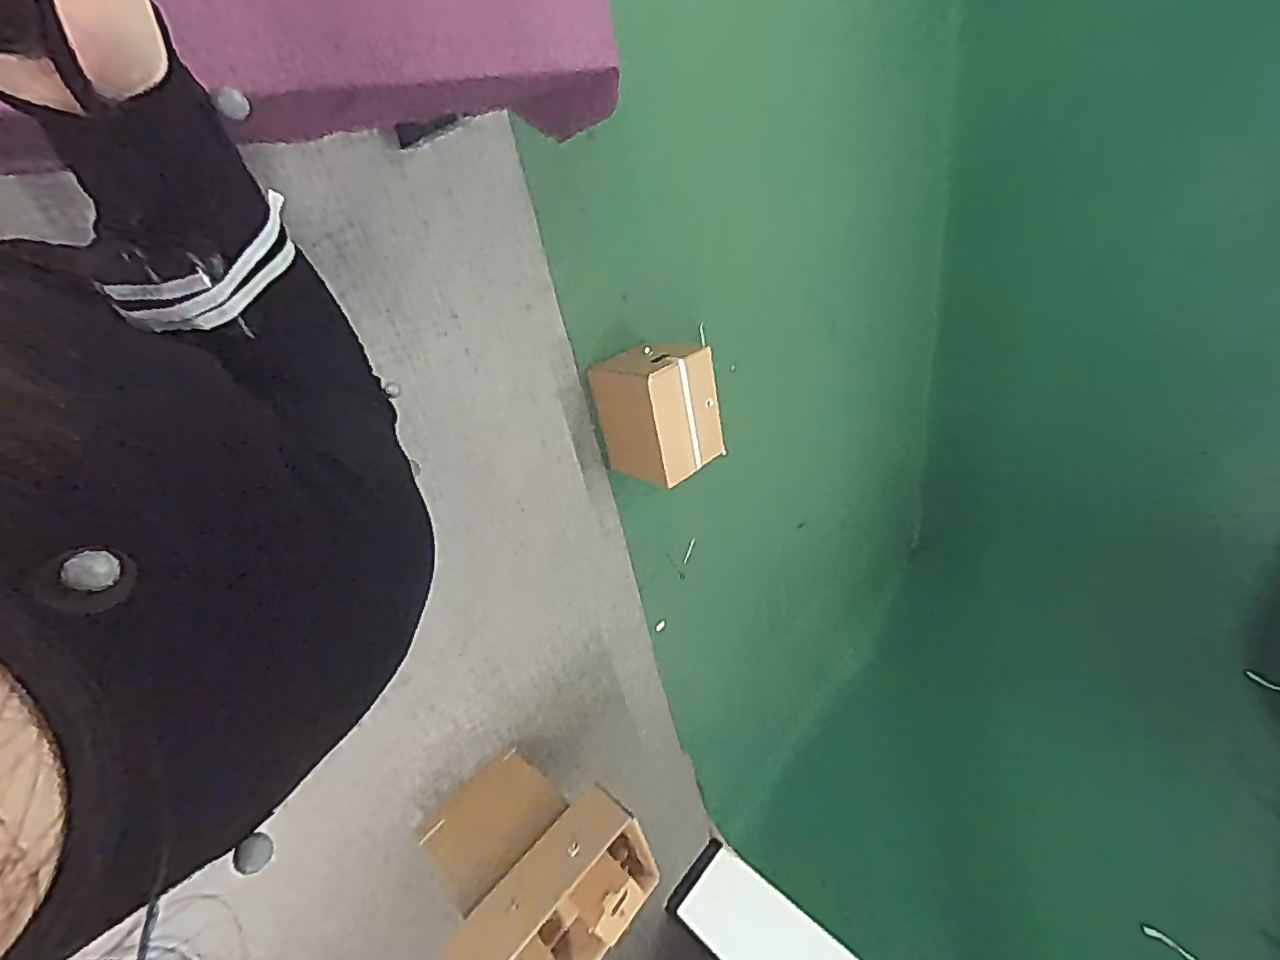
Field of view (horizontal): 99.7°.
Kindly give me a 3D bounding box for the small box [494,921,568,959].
[{"bbox_3d":[-0.303,1.426,1.550,0.168,0.176,0.179,-28,120,-35],"label":"small box"}]
